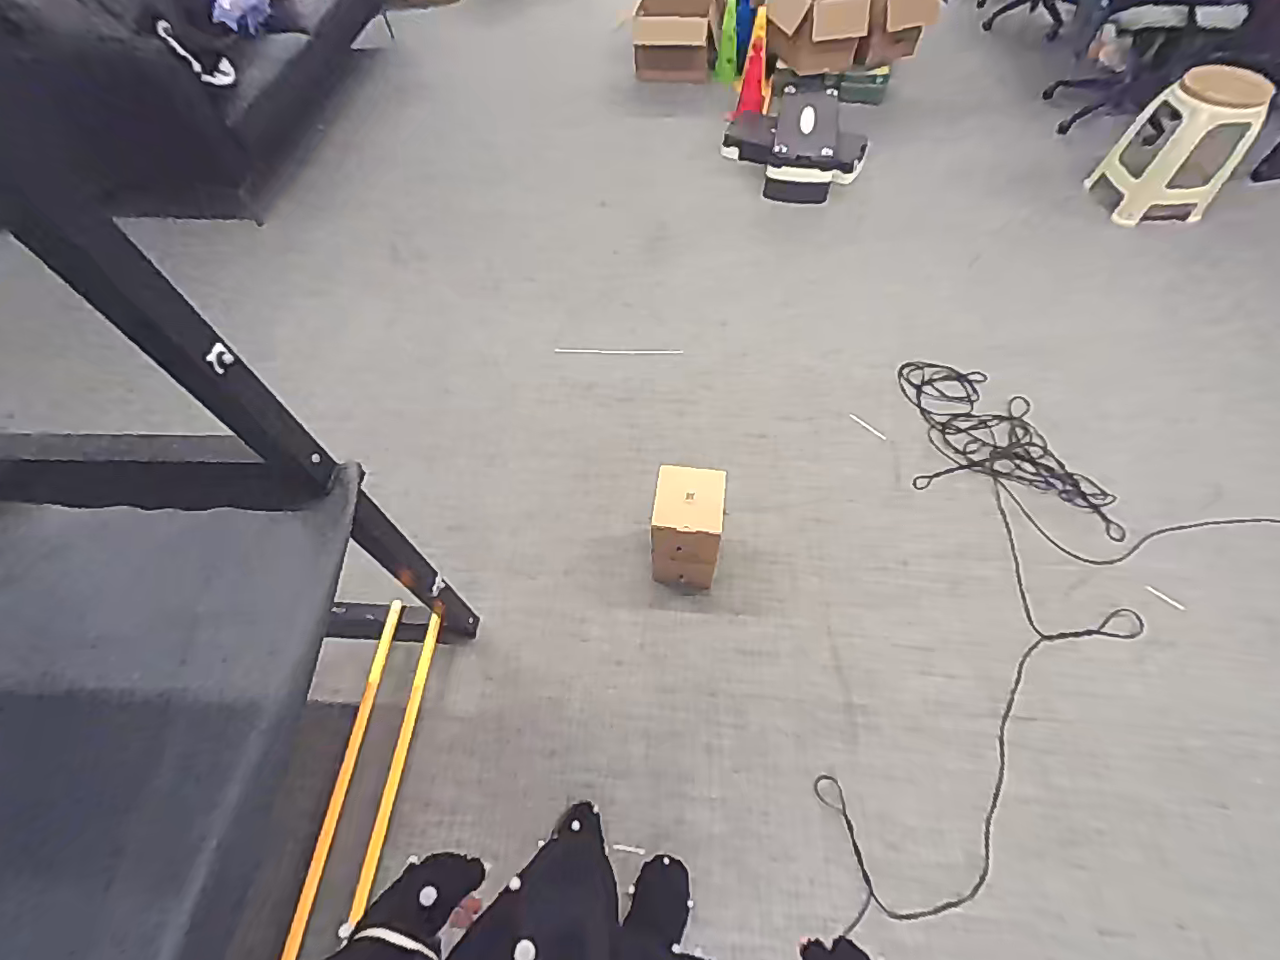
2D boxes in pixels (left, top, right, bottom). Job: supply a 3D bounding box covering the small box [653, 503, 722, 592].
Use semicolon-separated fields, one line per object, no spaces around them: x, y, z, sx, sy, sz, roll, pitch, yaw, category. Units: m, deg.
0.131;0.189;1.498;0.168;0.176;0.179;7;59;8;small box
